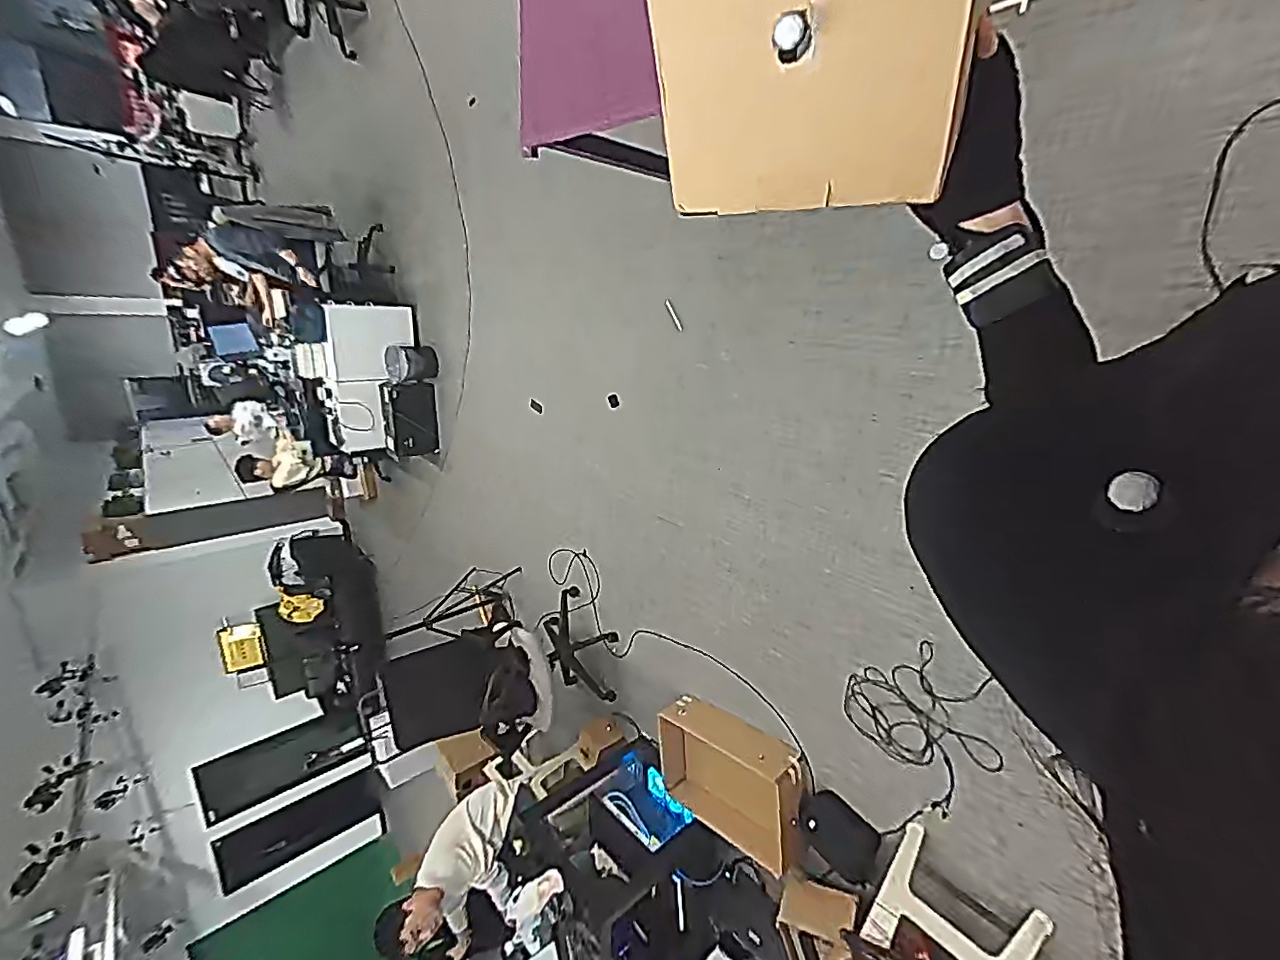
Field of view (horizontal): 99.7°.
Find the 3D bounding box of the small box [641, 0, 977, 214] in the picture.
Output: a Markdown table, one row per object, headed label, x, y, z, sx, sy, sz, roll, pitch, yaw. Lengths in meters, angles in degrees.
| label | x | y | z | sx | sy | sz | roll | pitch | yaw |
| --- | --- | --- | --- | --- | --- | --- | --- | --- | --- |
| small box | 0.108 | -0.283 | 0.327 | 0.168 | 0.179 | 0.176 | 12 | 138 | 26 |
